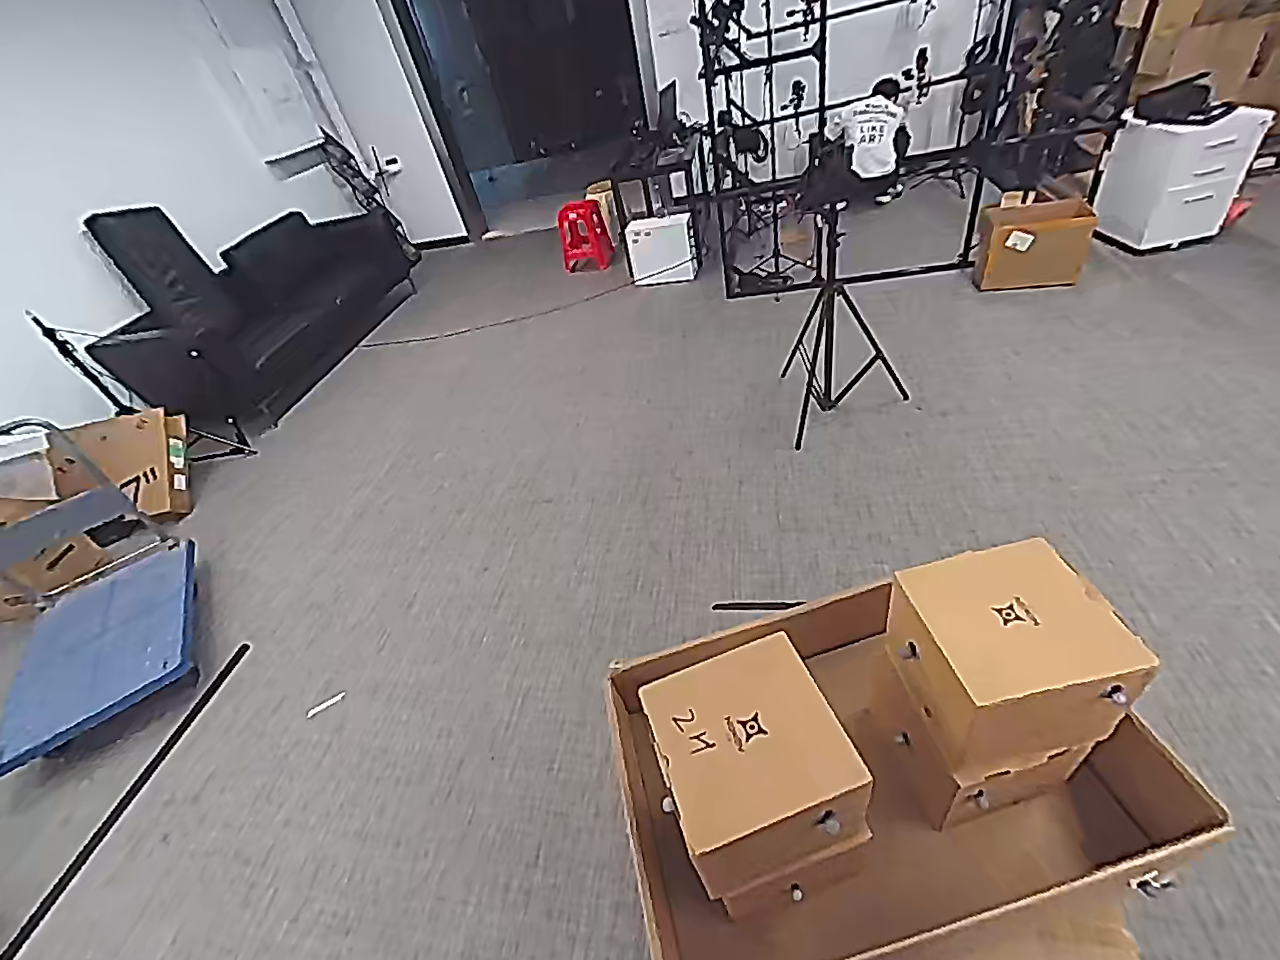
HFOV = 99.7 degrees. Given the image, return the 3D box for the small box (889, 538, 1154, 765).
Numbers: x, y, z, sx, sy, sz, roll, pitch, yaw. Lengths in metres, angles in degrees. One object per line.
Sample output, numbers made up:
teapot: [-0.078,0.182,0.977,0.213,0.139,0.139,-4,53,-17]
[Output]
small box: [0.402,0.197,0.614,0.179,0.176,0.168,-14,41,2]

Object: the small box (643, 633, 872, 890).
small box: [0.119,0.303,0.584,0.179,0.176,0.168,-20,41,-5]
